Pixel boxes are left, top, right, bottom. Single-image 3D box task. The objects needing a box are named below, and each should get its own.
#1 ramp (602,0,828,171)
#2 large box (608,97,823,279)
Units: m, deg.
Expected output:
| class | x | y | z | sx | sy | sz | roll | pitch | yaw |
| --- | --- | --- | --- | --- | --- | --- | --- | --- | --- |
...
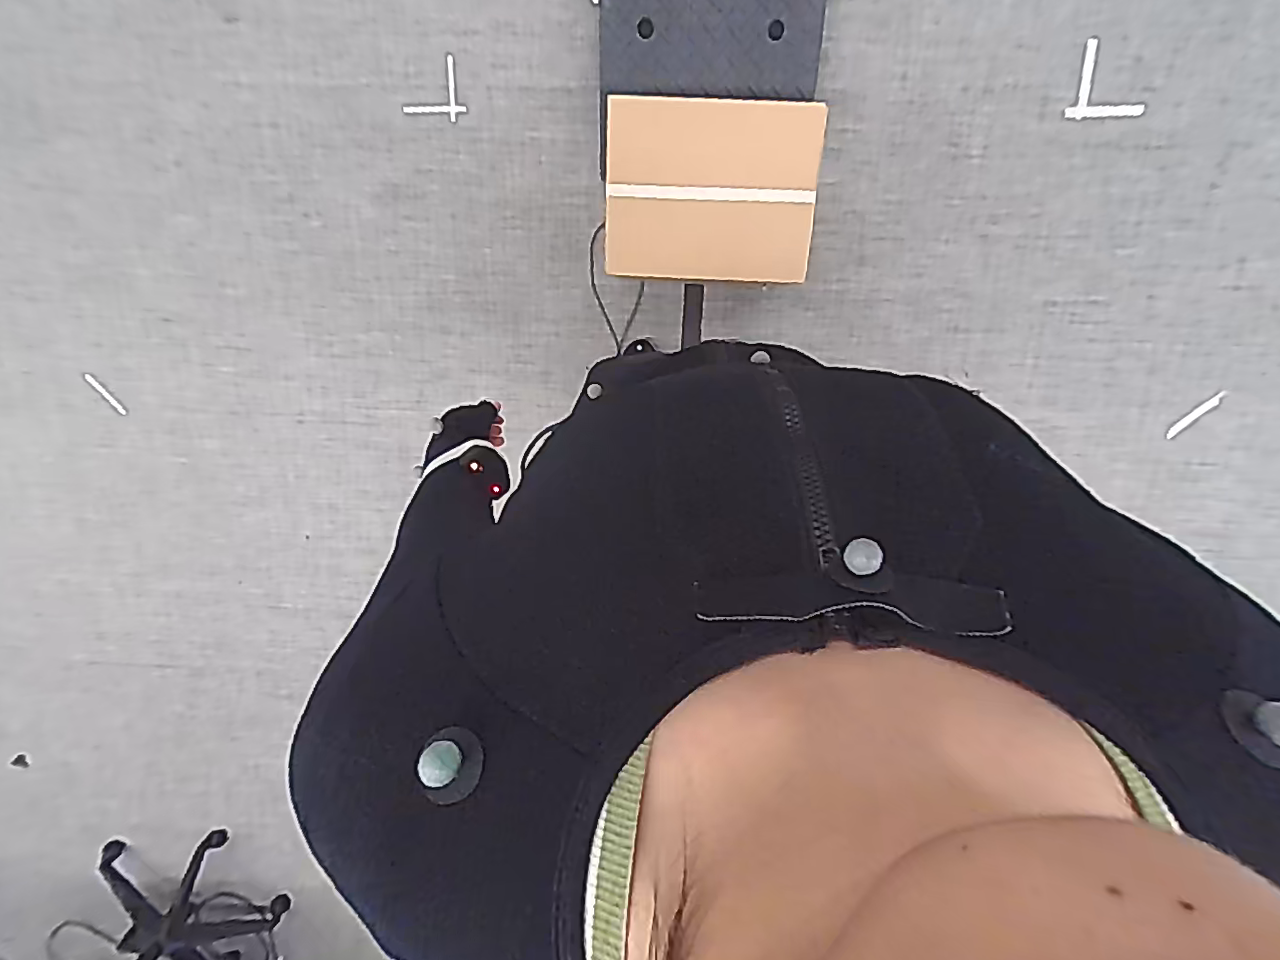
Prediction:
| class | x | y | z | sx | sy | sz | roll | pitch | yaw |
| --- | --- | --- | --- | --- | --- | --- | --- | --- | --- |
| ramp | 0.165 | -1.193 | 1.099 | 0.509 | 0.206 | 0.991 | 0 | 105 | 1 |
| large box | 0.146 | -0.610 | 1.188 | 0.408 | 0.320 | 0.320 | 3 | 108 | 2 |
